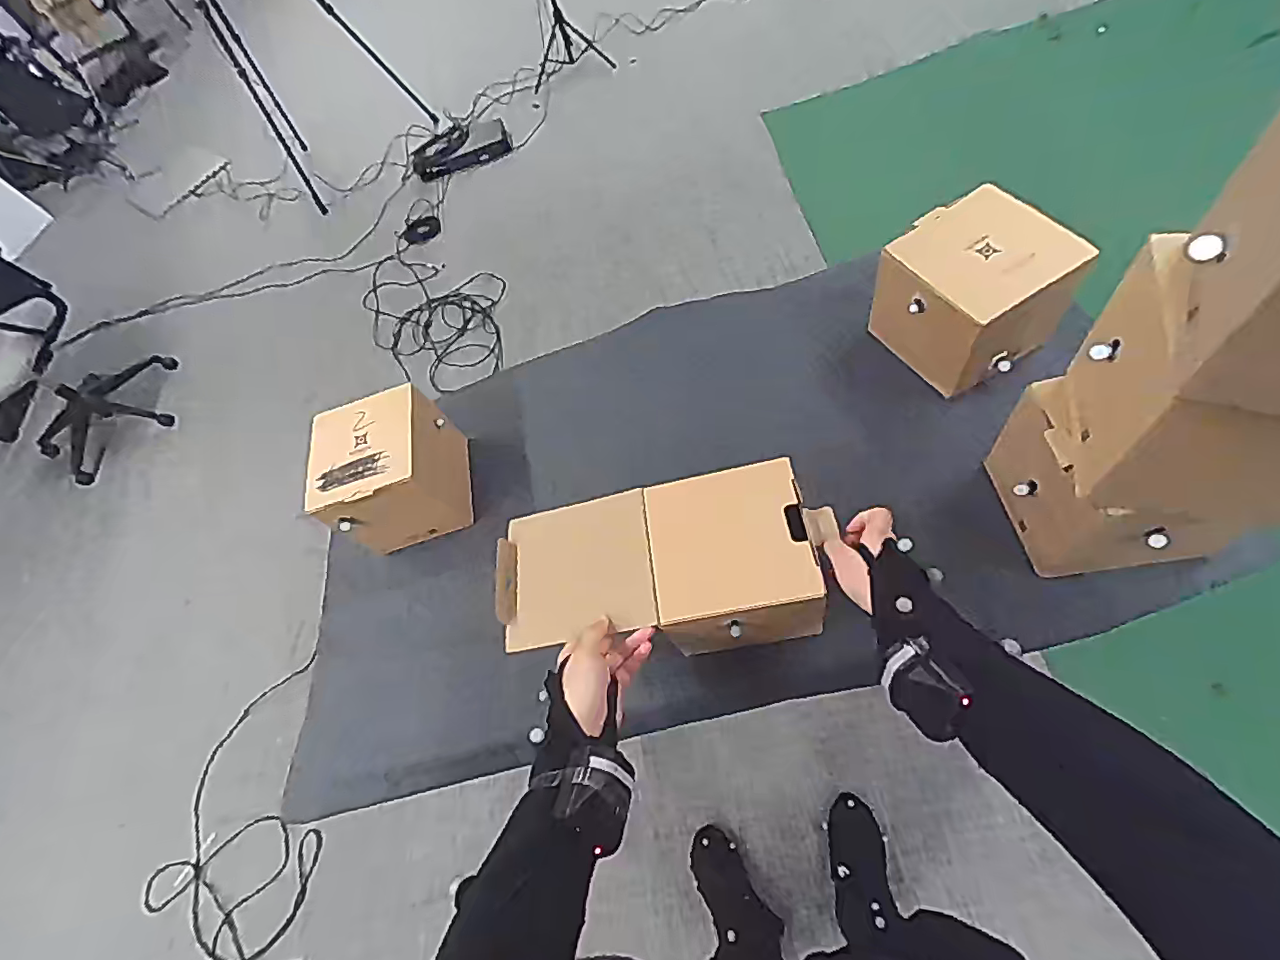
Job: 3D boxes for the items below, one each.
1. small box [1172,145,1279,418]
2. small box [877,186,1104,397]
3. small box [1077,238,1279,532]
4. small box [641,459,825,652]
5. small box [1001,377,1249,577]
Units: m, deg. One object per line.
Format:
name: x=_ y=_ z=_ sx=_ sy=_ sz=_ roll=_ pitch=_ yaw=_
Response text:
small box: x=0.451 y=-0.132 z=0.289 sx=0.179 sy=0.176 sz=0.168 roll=19 pitch=67 yaw=25
small box: x=0.450 y=-0.247 z=0.736 sx=0.168 sy=0.176 sz=0.179 roll=-32 pitch=61 yaw=1
small box: x=0.489 y=-0.072 z=0.440 sx=0.179 sy=0.176 sz=0.168 roll=9 pitch=63 yaw=20
small box: x=0.112 y=0.101 z=0.648 sx=0.179 sy=0.176 sz=0.168 roll=-12 pitch=61 yaw=10
small box: x=0.524 y=-0.005 z=0.586 sx=0.179 sy=0.176 sz=0.168 roll=-11 pitch=58 yaw=11
